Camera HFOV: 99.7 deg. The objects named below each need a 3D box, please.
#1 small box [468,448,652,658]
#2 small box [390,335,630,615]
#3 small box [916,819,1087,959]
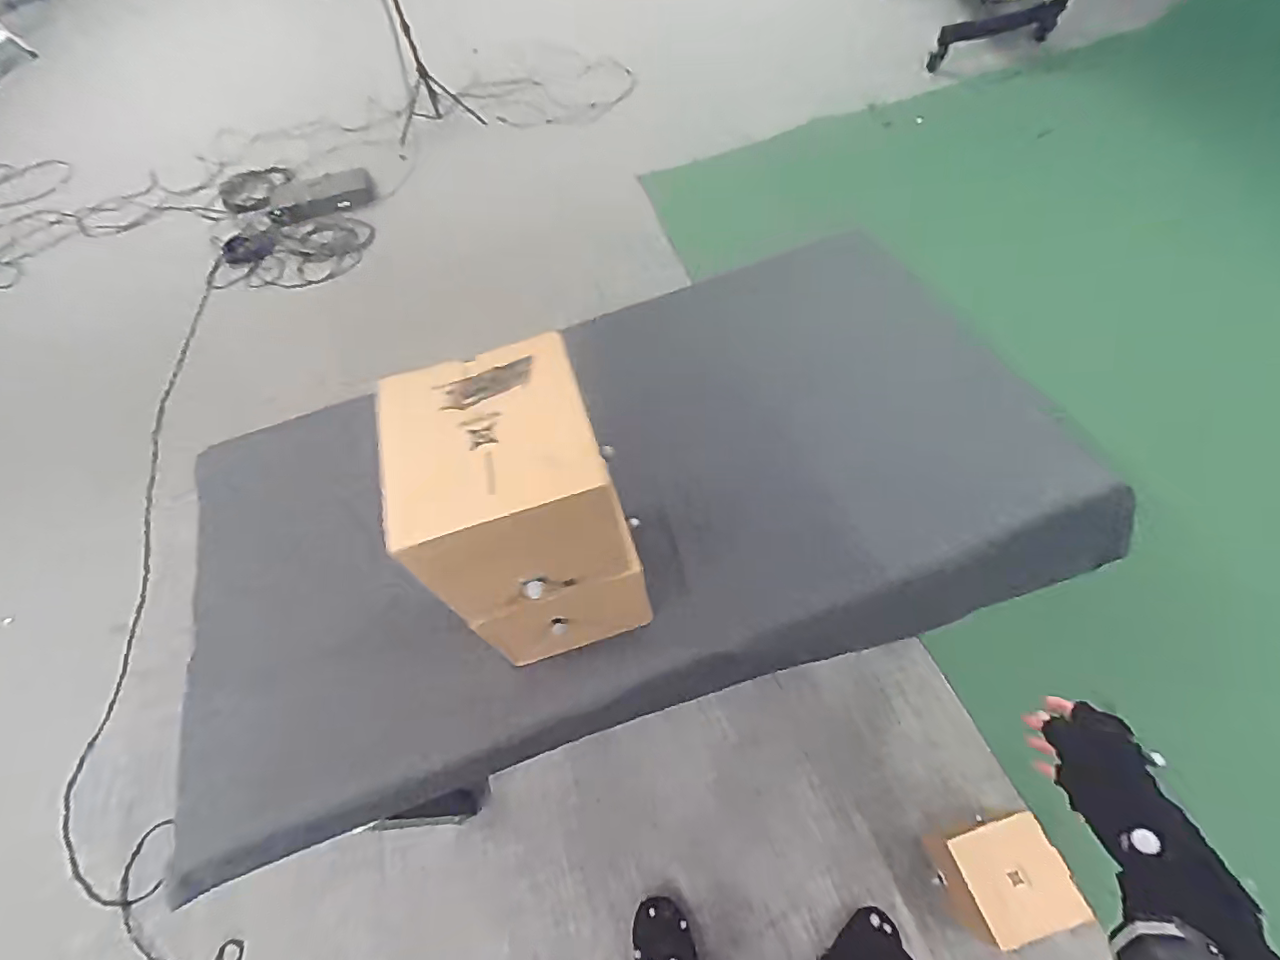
[{"bbox_3d":[-0.095,0.093,0.641,0.179,0.176,0.168,-17,58,-4],"label":"small box"},{"bbox_3d":[-0.114,0.001,0.505,0.168,0.176,0.179,-16,58,-4],"label":"small box"},{"bbox_3d":[0.660,0.753,1.015,0.179,0.176,0.168,-17,58,-3],"label":"small box"}]
